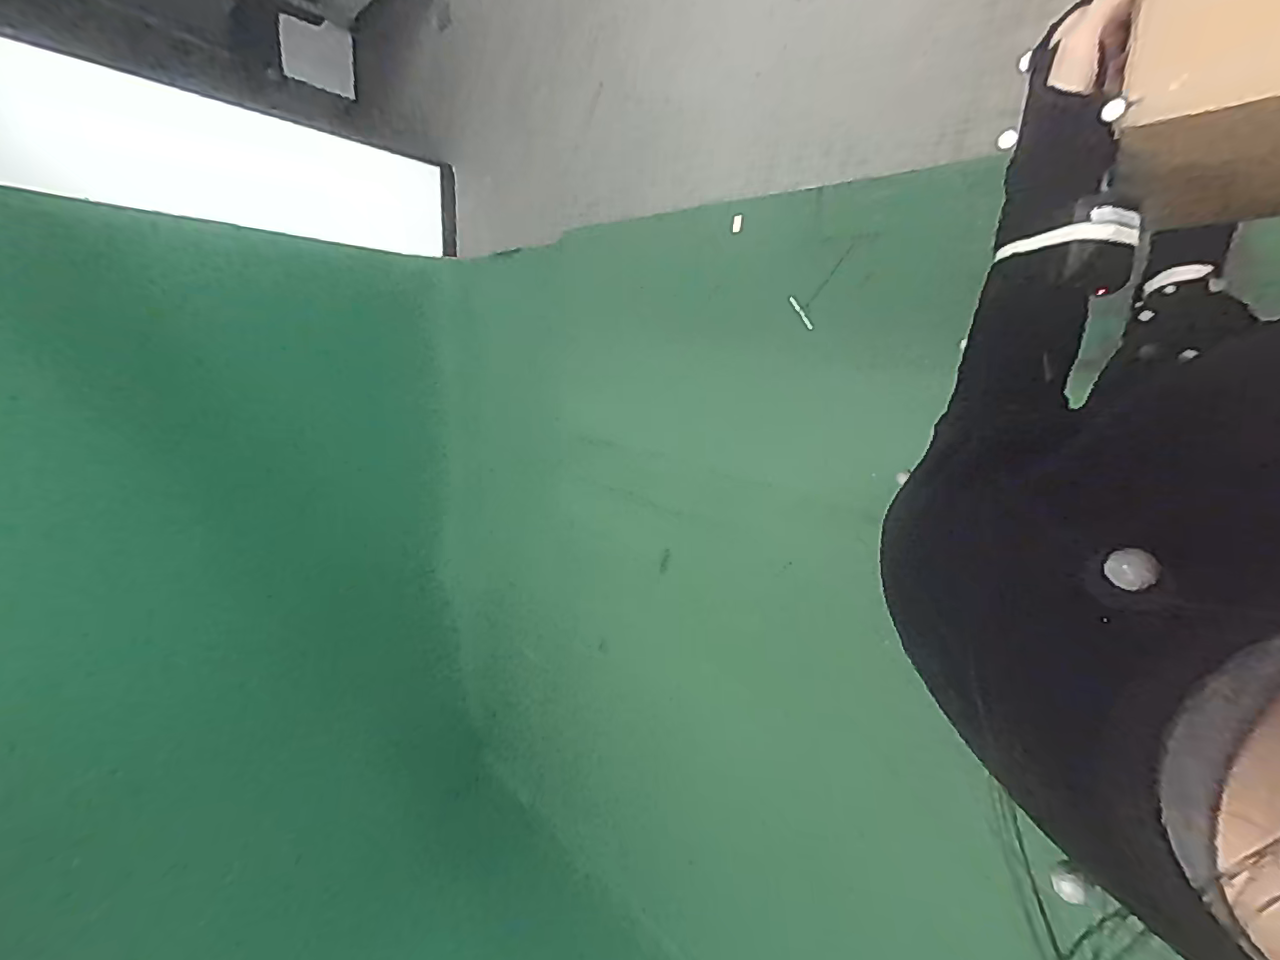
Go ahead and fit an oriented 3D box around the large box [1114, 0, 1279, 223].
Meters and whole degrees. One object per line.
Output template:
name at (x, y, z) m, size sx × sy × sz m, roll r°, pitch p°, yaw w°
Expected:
large box at (0.600, -0.400, 0.355) m, size 0.408 × 0.320 × 0.320 m, roll 9°, pitch 101°, yaw 40°
